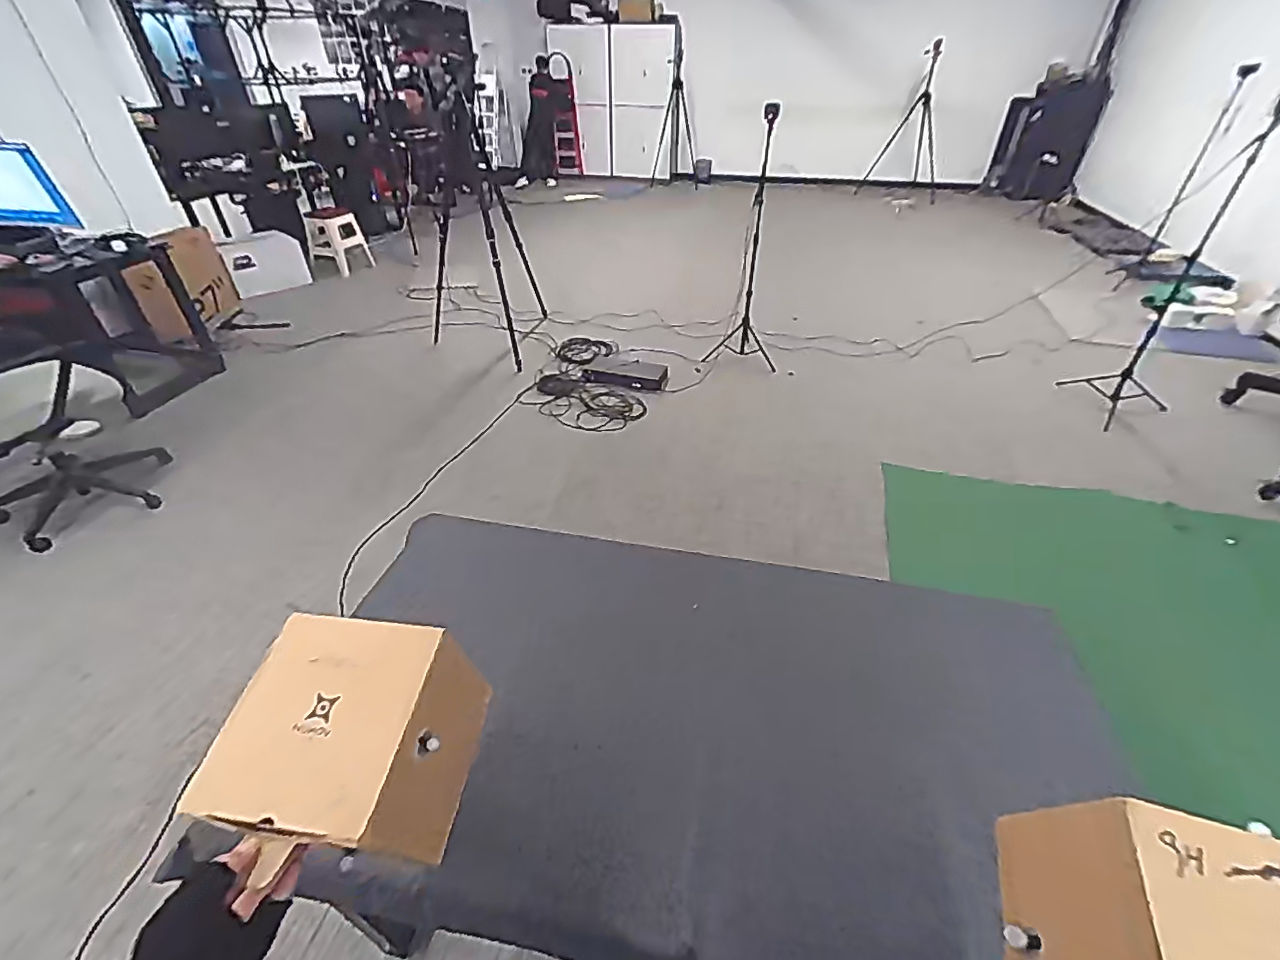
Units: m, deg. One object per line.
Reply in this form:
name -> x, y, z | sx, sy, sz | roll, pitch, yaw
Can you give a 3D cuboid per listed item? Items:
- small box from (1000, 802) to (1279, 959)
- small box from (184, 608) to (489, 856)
small box -> 0.377, 0.345, 0.365 | 0.168, 0.176, 0.179 | 13, 56, 9
small box -> -0.267, 0.250, 0.532 | 0.168, 0.176, 0.179 | 4, 51, 8
